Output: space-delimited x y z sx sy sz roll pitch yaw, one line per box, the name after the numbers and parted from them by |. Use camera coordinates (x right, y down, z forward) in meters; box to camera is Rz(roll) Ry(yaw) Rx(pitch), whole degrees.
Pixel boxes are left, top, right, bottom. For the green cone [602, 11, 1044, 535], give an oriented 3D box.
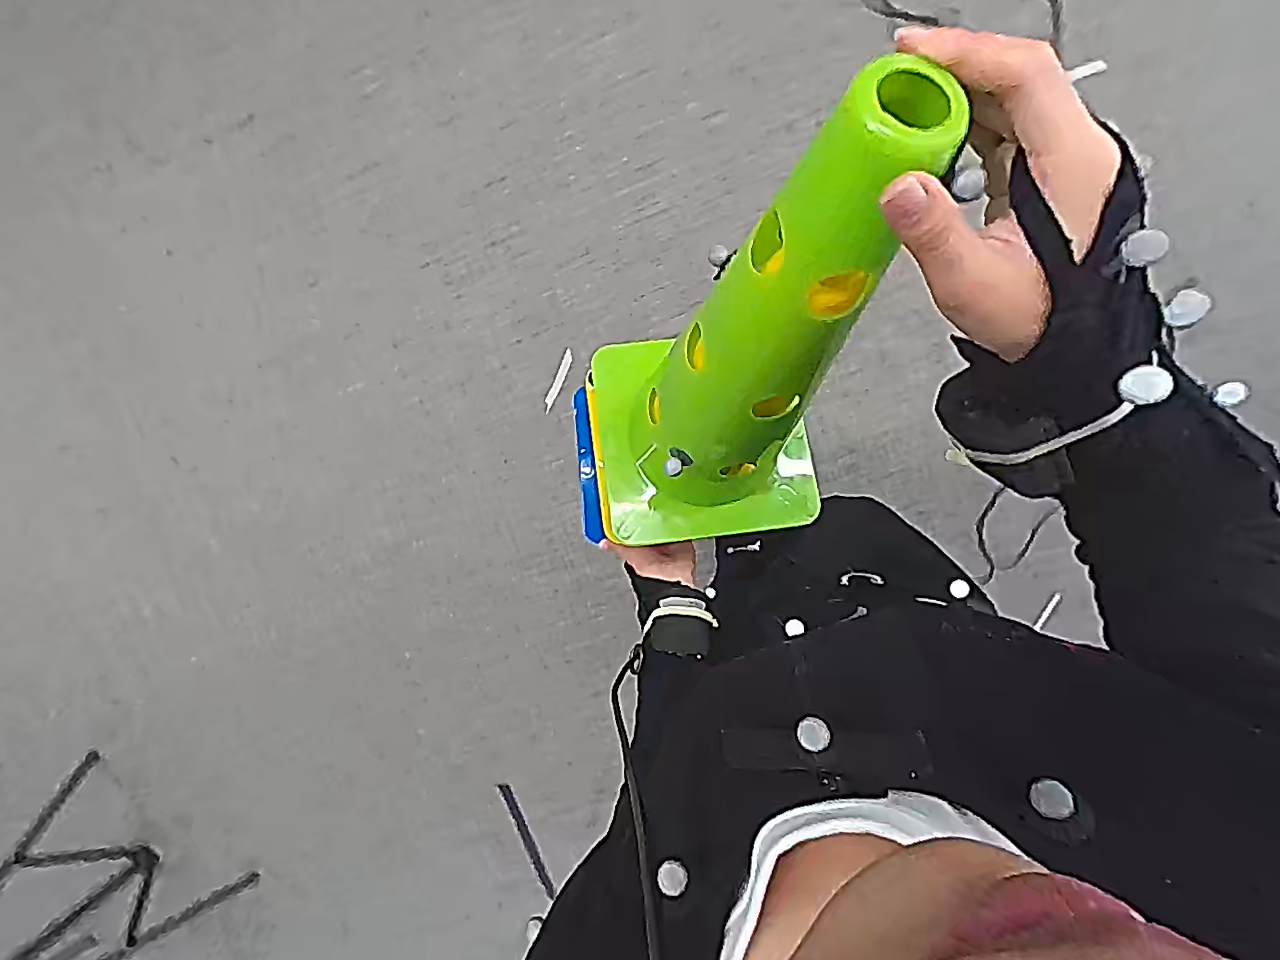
0.083 -0.091 0.335 0.200 0.368 0.202 -6 79 -6 | green cone
